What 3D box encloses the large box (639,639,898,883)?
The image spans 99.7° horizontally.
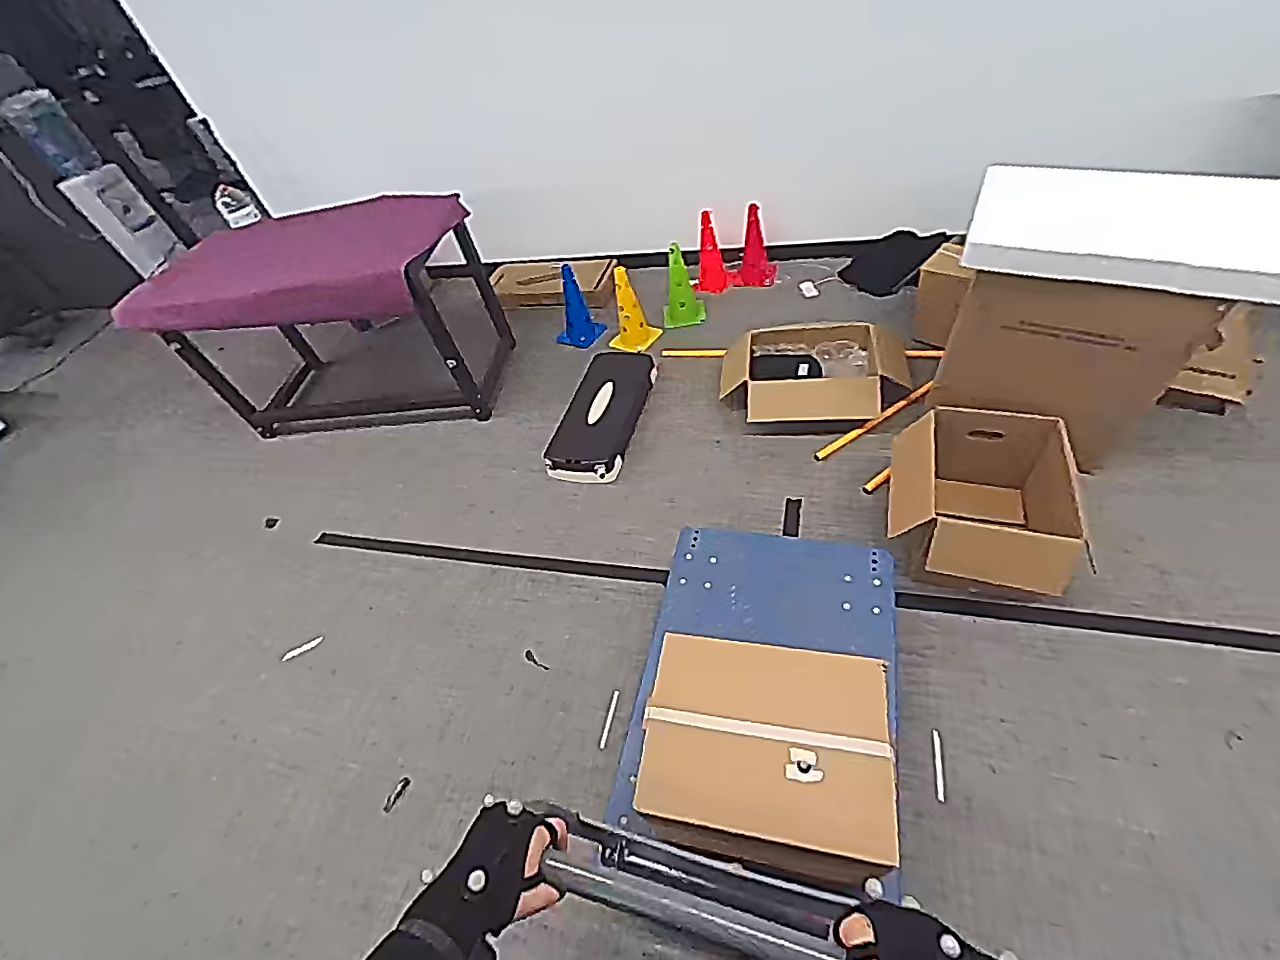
[{"bbox_3d":[0.238,0.537,1.044,0.408,0.320,0.320,3,51,14],"label":"large box"}]
